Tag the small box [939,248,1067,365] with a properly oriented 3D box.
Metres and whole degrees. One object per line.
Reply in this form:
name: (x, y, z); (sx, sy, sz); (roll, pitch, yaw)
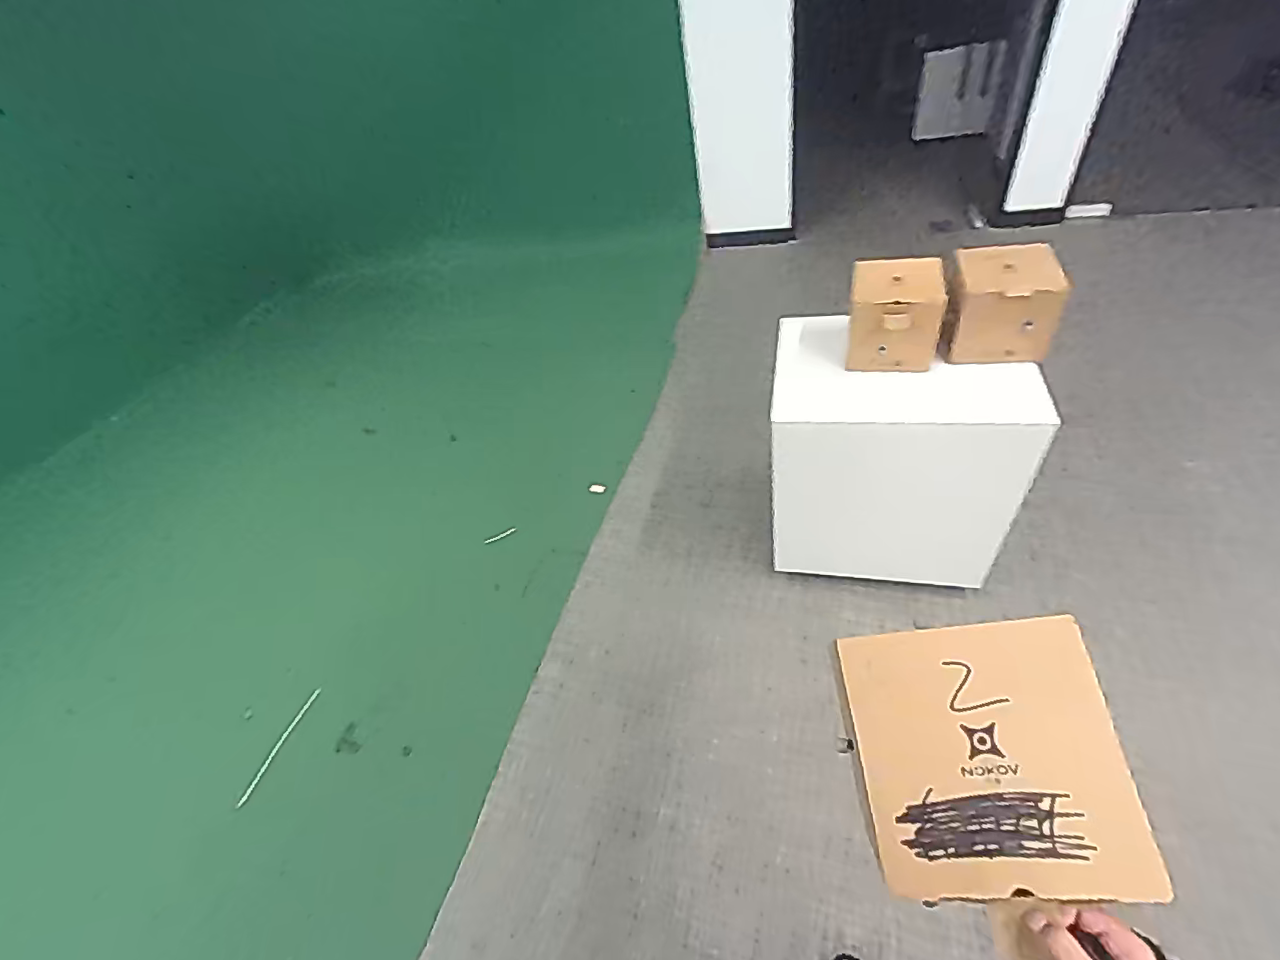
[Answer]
small box: (0.727, -0.348, 1.104); (0.168, 0.176, 0.179); (3, 47, 17)
